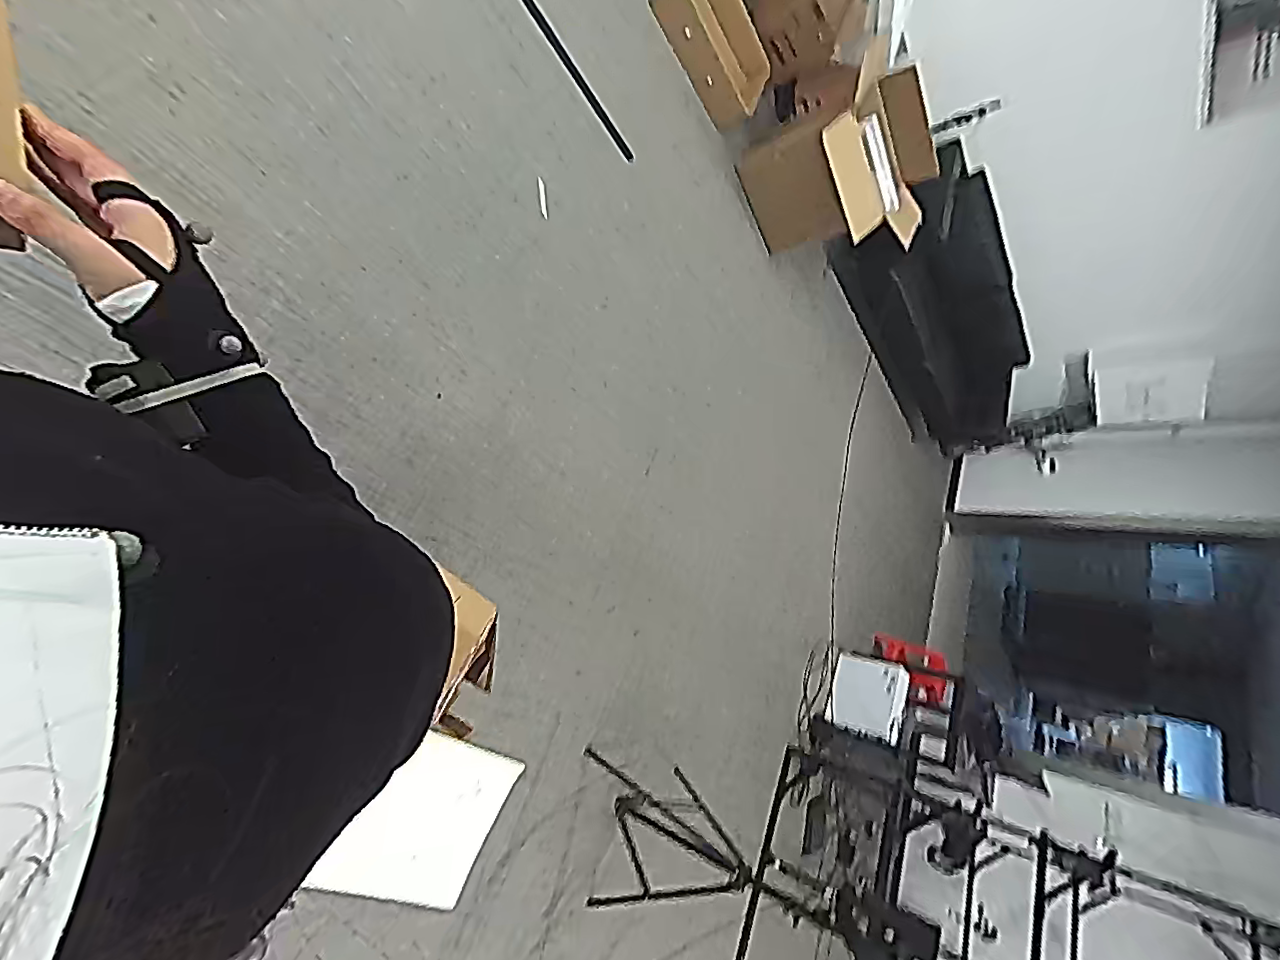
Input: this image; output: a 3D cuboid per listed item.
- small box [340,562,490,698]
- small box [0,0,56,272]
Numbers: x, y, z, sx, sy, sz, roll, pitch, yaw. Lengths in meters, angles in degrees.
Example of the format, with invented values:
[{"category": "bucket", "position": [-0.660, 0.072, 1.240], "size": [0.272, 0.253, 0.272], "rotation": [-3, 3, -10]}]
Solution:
[{"category": "small box", "position": [-0.424, 0.271, 1.006], "size": [0.168, 0.176, 0.179], "rotation": [49, 55, -33]}, {"category": "small box", "position": [-0.490, -0.228, 0.320], "size": [0.179, 0.176, 0.168], "rotation": [-9, 103, -48]}]
